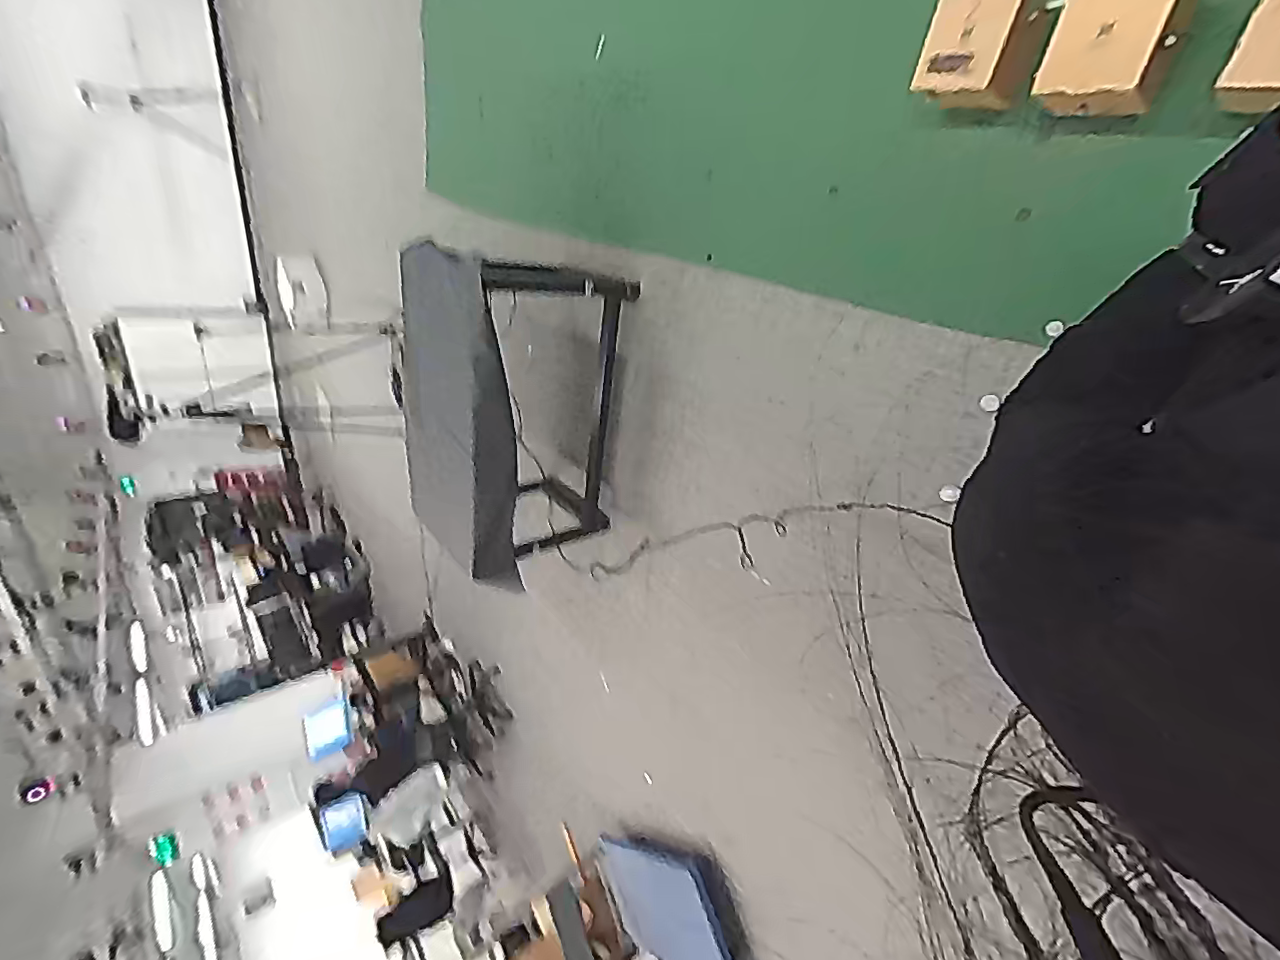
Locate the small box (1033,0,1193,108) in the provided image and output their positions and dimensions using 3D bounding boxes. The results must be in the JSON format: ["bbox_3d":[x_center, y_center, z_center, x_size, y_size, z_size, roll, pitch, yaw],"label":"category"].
[{"bbox_3d":[0.879,-0.817,1.005,0.168,0.176,0.179,33,125,39],"label":"small box"}]

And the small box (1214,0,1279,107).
[{"bbox_3d":[1.055,-0.692,0.834,0.179,0.176,0.168,35,126,37],"label":"small box"}]
